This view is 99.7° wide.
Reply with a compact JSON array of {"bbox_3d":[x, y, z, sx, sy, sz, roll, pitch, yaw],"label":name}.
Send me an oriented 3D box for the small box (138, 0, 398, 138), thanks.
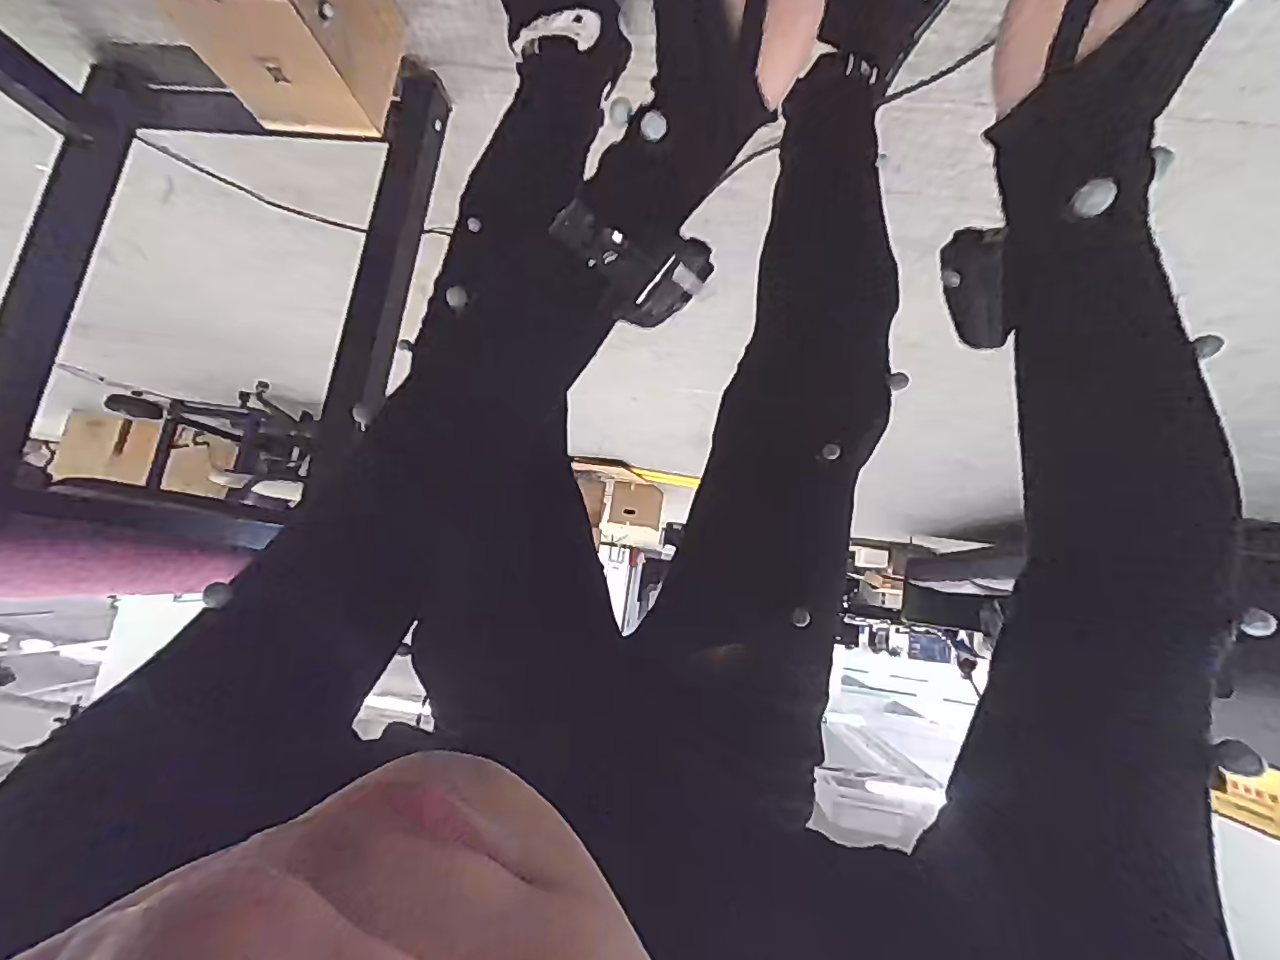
[{"bbox_3d":[-0.410,-0.541,0.625,0.168,0.176,0.179,7,170,6],"label":"small box"}]
